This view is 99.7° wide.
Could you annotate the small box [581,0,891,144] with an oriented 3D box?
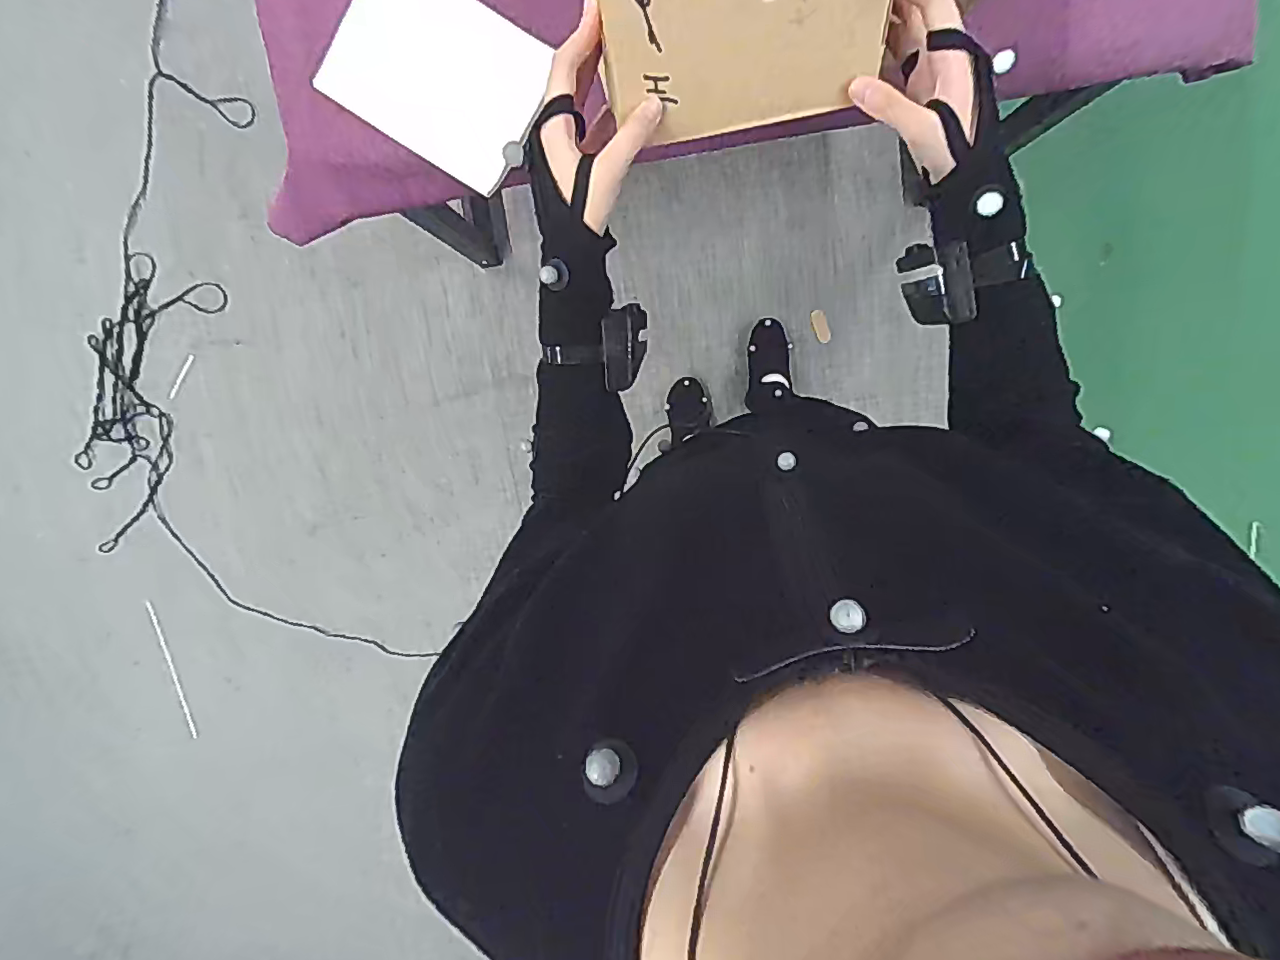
[{"bbox_3d":[0.049,-0.351,0.349,0.179,0.176,0.168,-11,141,0],"label":"small box"}]
